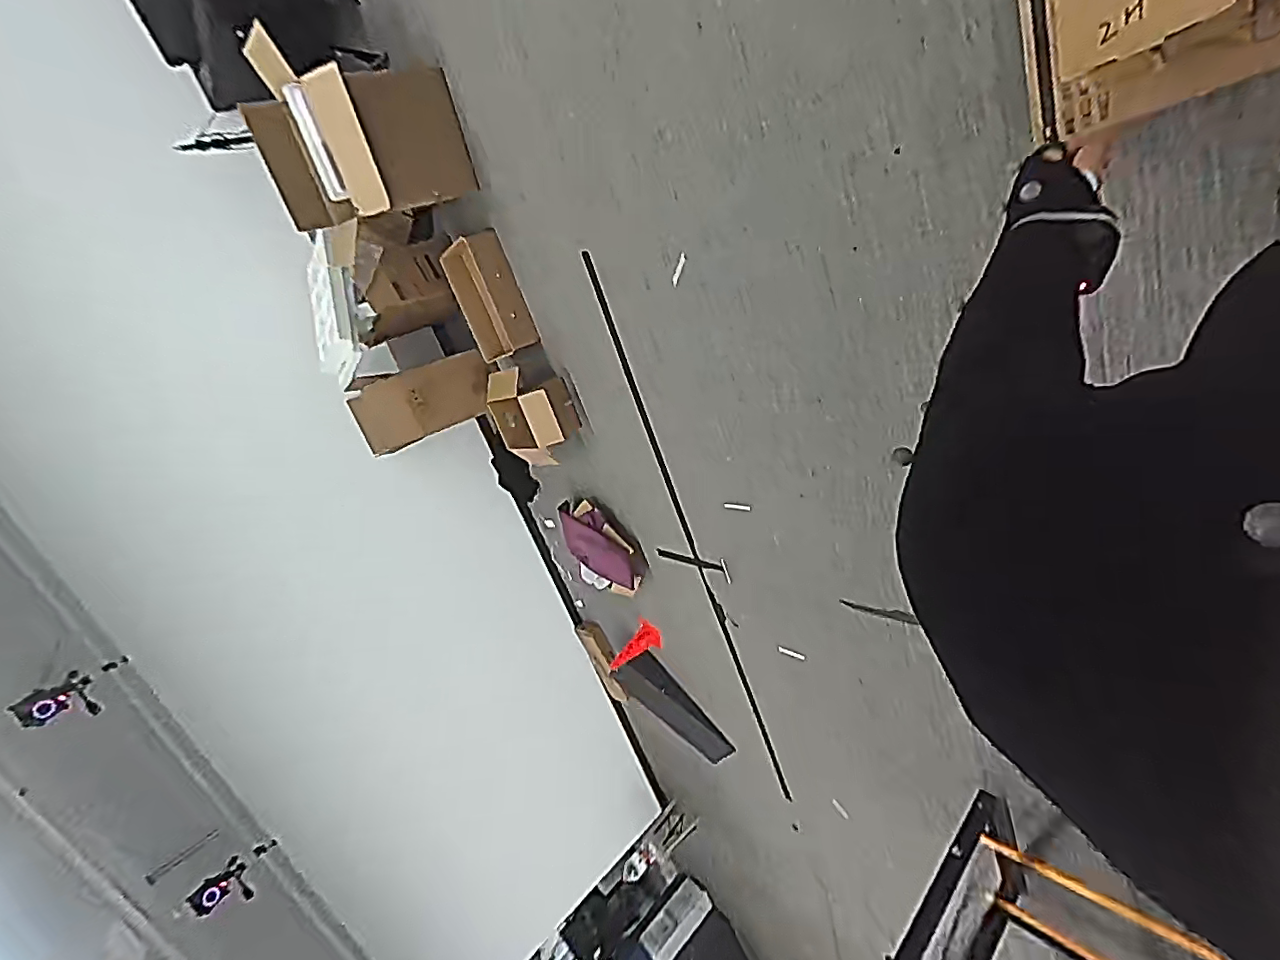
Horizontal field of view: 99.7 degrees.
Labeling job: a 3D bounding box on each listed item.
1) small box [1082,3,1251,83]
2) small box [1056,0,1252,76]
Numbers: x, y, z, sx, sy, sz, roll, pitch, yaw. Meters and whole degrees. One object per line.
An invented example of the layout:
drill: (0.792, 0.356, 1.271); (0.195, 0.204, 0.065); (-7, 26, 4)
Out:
small box: (0.769, -0.726, 0.797); (0.168, 0.176, 0.179); (2, 120, 53)
small box: (0.659, -0.657, 0.693); (0.168, 0.176, 0.179); (5, 121, 53)
